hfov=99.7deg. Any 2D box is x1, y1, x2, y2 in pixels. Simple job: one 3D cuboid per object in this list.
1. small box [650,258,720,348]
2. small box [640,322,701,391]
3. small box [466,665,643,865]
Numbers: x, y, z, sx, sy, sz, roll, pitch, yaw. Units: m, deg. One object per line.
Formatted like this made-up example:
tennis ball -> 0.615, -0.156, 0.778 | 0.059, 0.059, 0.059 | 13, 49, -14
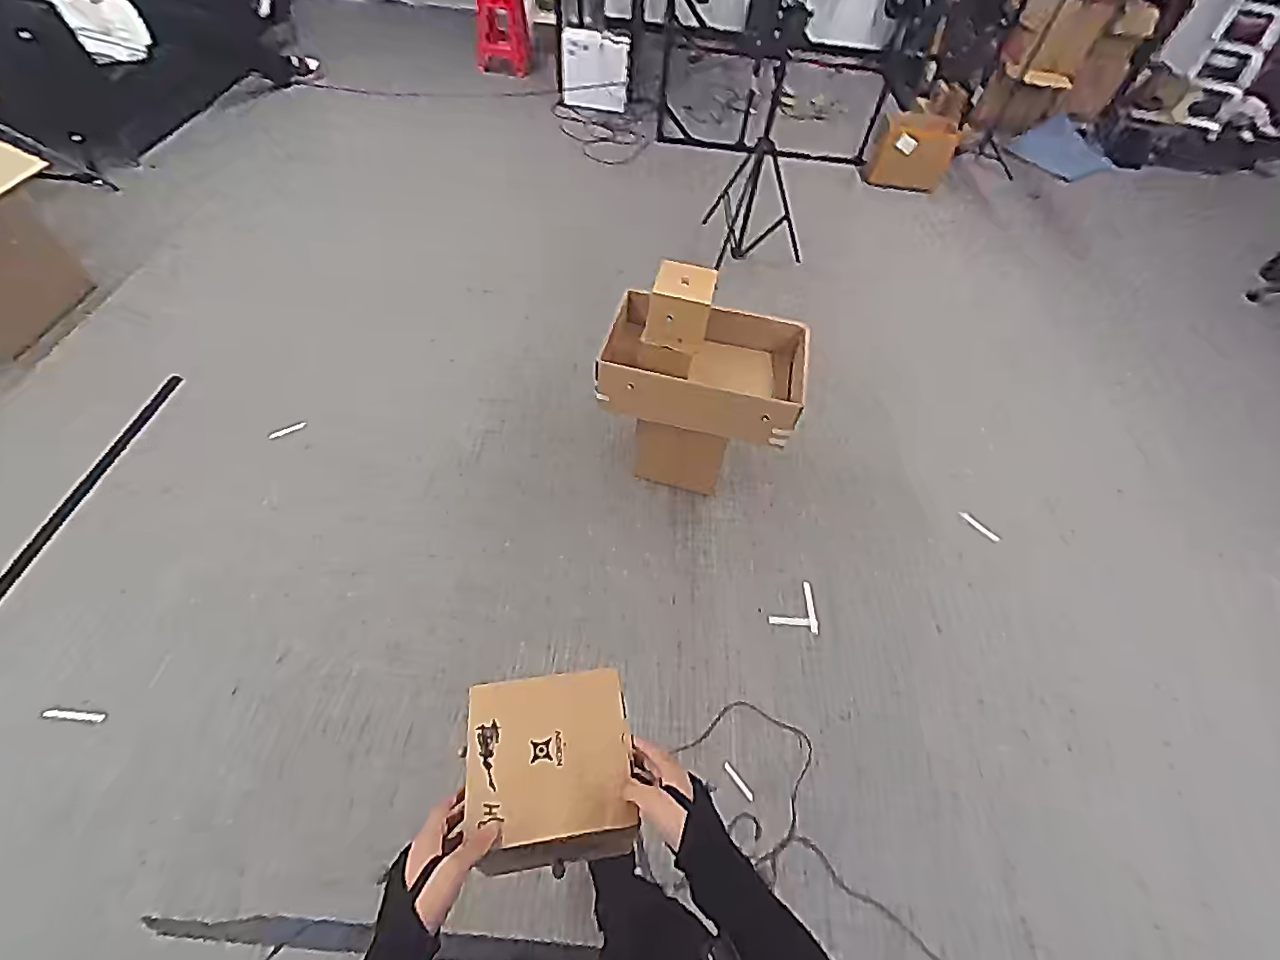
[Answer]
small box -> 0.128, -0.511, 1.573 | 0.168, 0.176, 0.179 | 13, 52, 3
small box -> 0.101, -0.408, 1.697 | 0.168, 0.176, 0.179 | 16, 52, 5
small box -> -0.099, 0.339, 0.642 | 0.179, 0.176, 0.168 | -3, 48, -9
